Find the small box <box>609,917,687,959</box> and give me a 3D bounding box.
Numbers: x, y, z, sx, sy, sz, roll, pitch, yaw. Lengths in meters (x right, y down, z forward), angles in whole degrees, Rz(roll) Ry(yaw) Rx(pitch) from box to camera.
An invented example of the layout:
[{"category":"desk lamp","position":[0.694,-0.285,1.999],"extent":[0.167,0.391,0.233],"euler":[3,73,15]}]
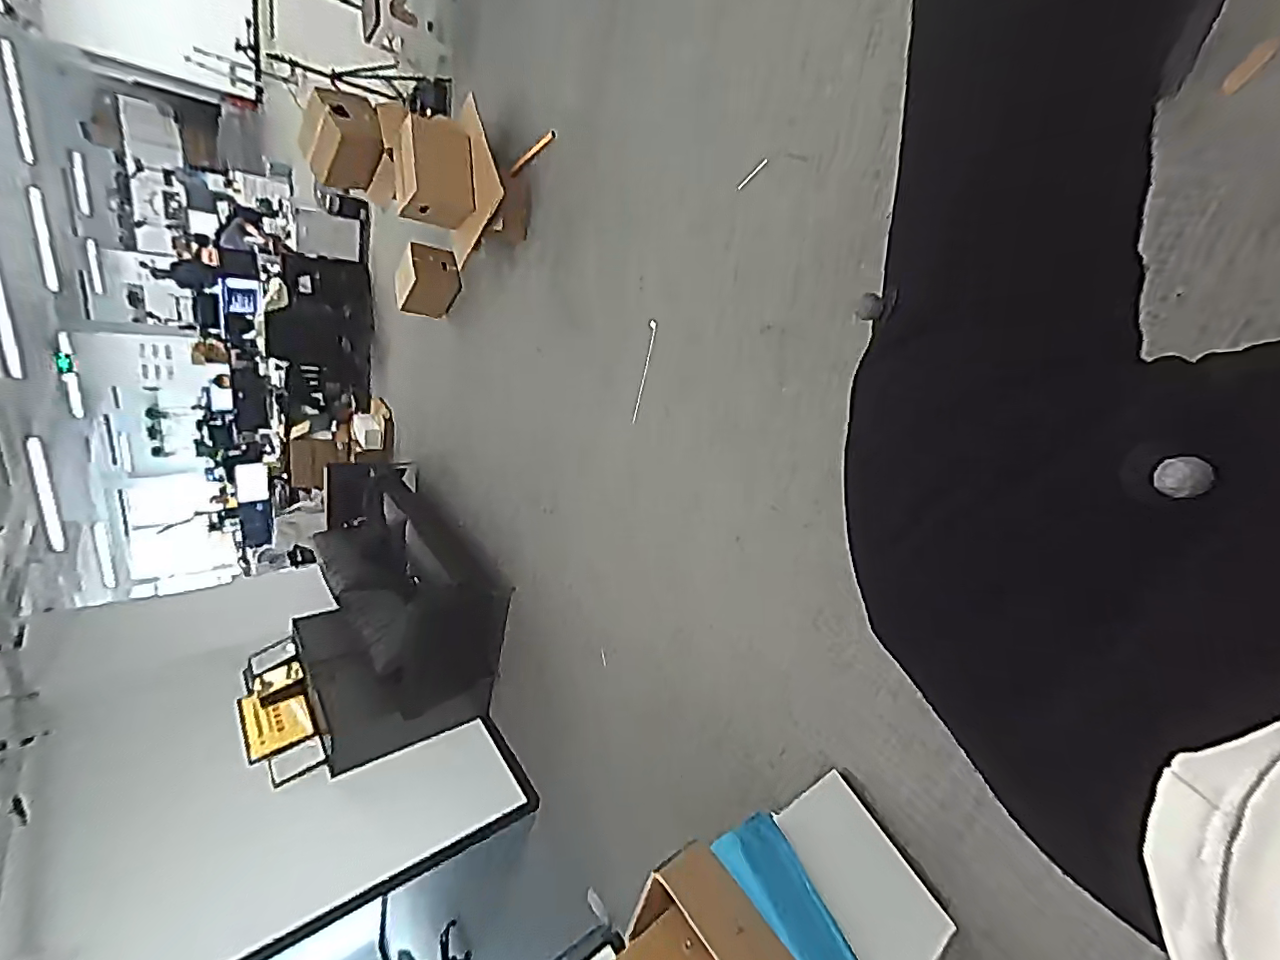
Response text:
[{"category":"small box","position":[0.024,1.300,1.401],"extent":[0.179,0.176,0.168],"euler":[39,124,39]}]
